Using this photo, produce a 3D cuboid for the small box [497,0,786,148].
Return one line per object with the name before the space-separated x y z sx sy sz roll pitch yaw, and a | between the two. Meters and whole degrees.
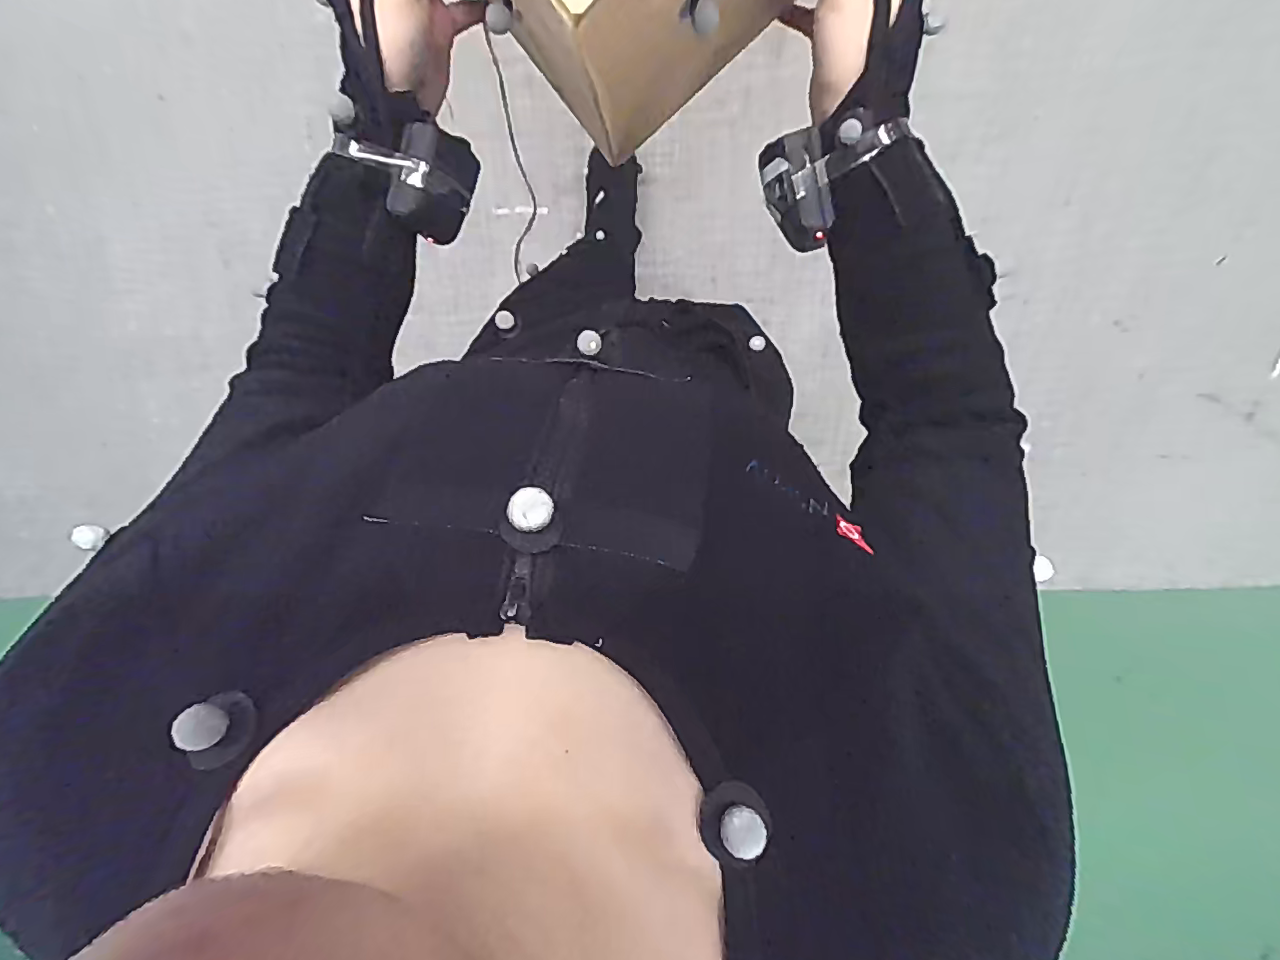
small box | -0.009 -0.333 0.298 0.179 0.176 0.168 -39 96 11
